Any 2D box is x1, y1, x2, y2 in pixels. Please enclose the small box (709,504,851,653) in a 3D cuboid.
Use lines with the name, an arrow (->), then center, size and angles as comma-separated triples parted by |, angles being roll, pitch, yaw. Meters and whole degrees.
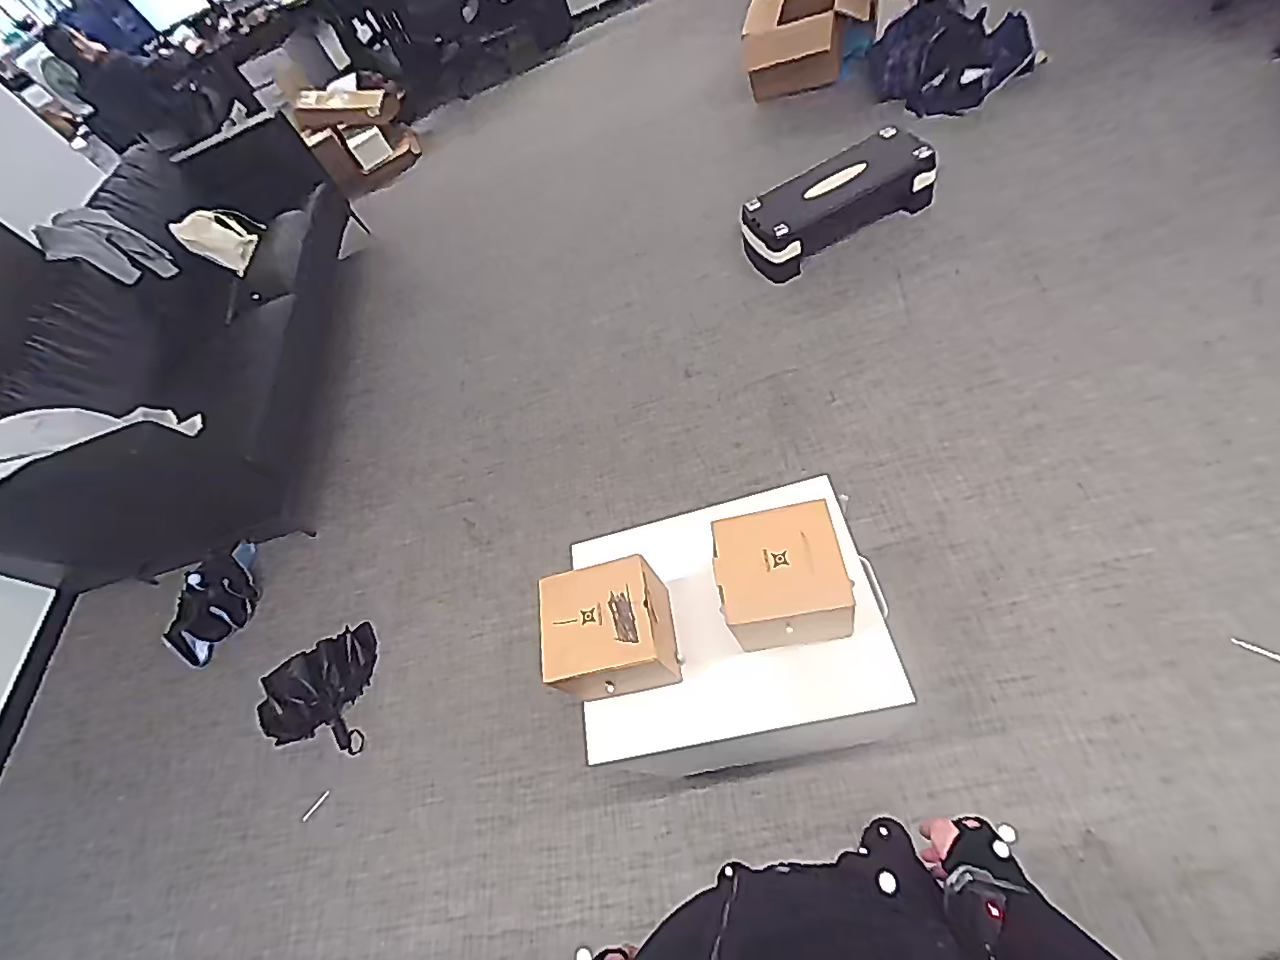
small box -> 0.216, 0.161, 0.837 | 0.179, 0.176, 0.168 | -13, 58, 12

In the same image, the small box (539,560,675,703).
small box -> -0.048, 0.252, 0.876 | 0.179, 0.176, 0.168 | -16, 56, 11
